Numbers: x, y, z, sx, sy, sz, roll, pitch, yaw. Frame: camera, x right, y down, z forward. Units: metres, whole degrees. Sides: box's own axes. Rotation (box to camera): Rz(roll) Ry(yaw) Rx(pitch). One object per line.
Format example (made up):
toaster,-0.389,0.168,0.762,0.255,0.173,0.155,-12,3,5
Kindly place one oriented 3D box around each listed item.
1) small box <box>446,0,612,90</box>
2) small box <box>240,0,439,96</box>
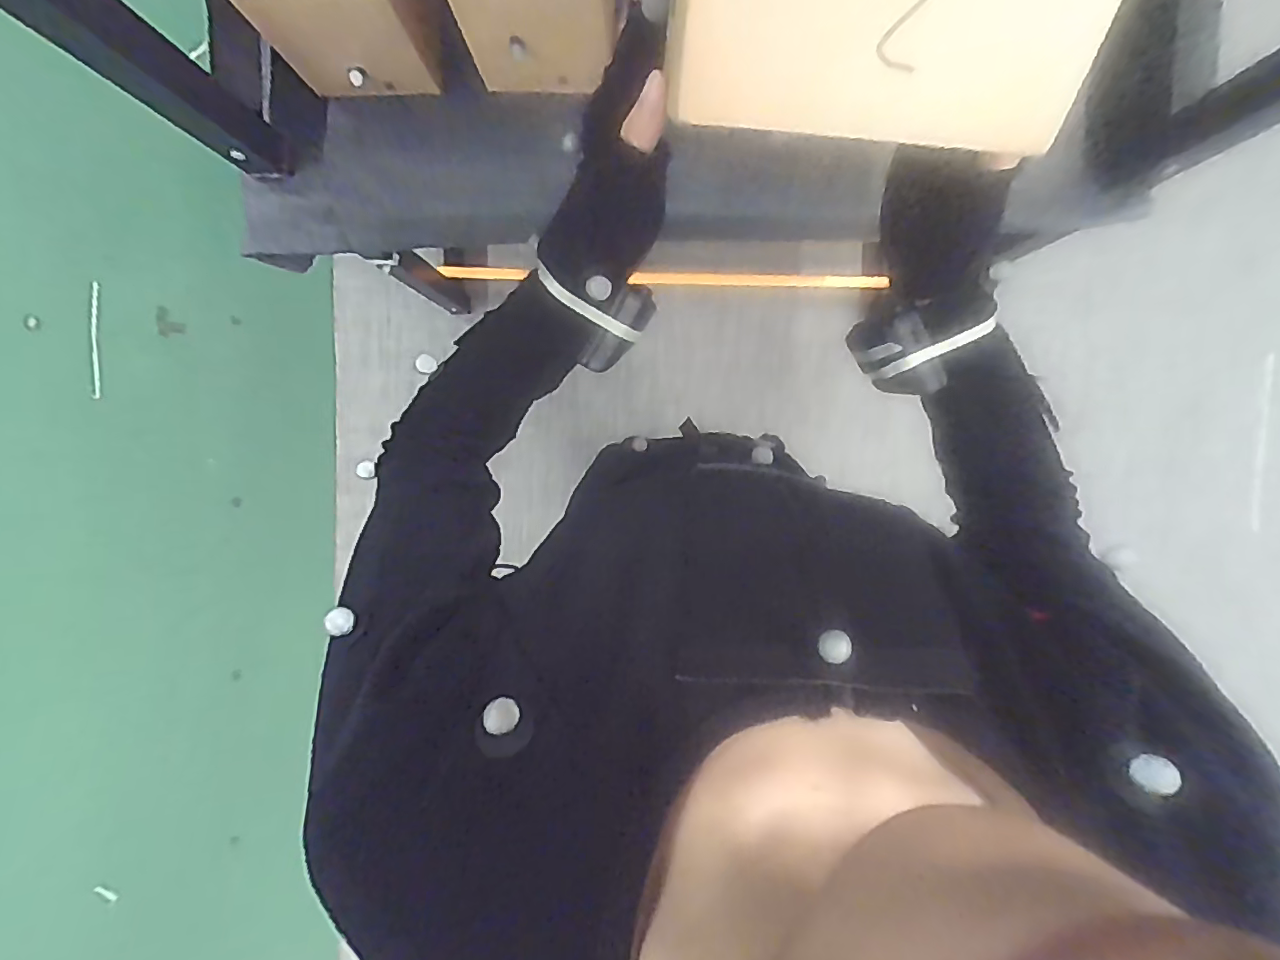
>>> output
small box,-0.119,-0.591,0.626,0.168,0.176,0.179,1,93,1
small box,-0.346,-0.590,0.627,0.168,0.176,0.179,-1,94,1
